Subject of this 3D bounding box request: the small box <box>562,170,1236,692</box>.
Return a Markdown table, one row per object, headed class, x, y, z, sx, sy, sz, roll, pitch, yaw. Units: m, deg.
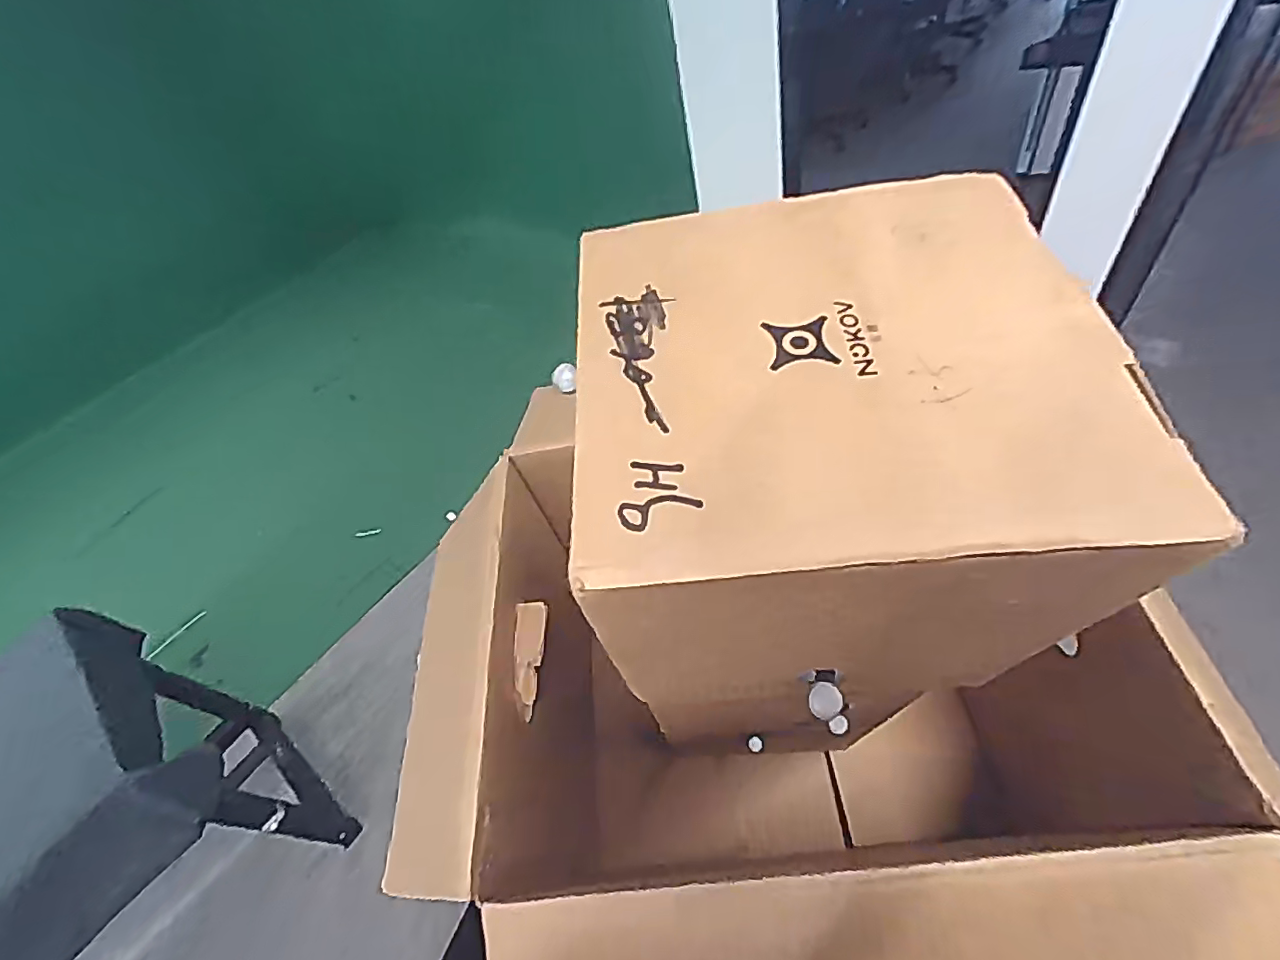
| class | x | y | z | sx | sy | sz | roll | pitch | yaw |
| --- | --- | --- | --- | --- | --- | --- | --- | --- | --- |
| small box | 0.070 | -0.007 | 0.249 | 0.179 | 0.176 | 0.168 | -5 | 57 | 4 |
